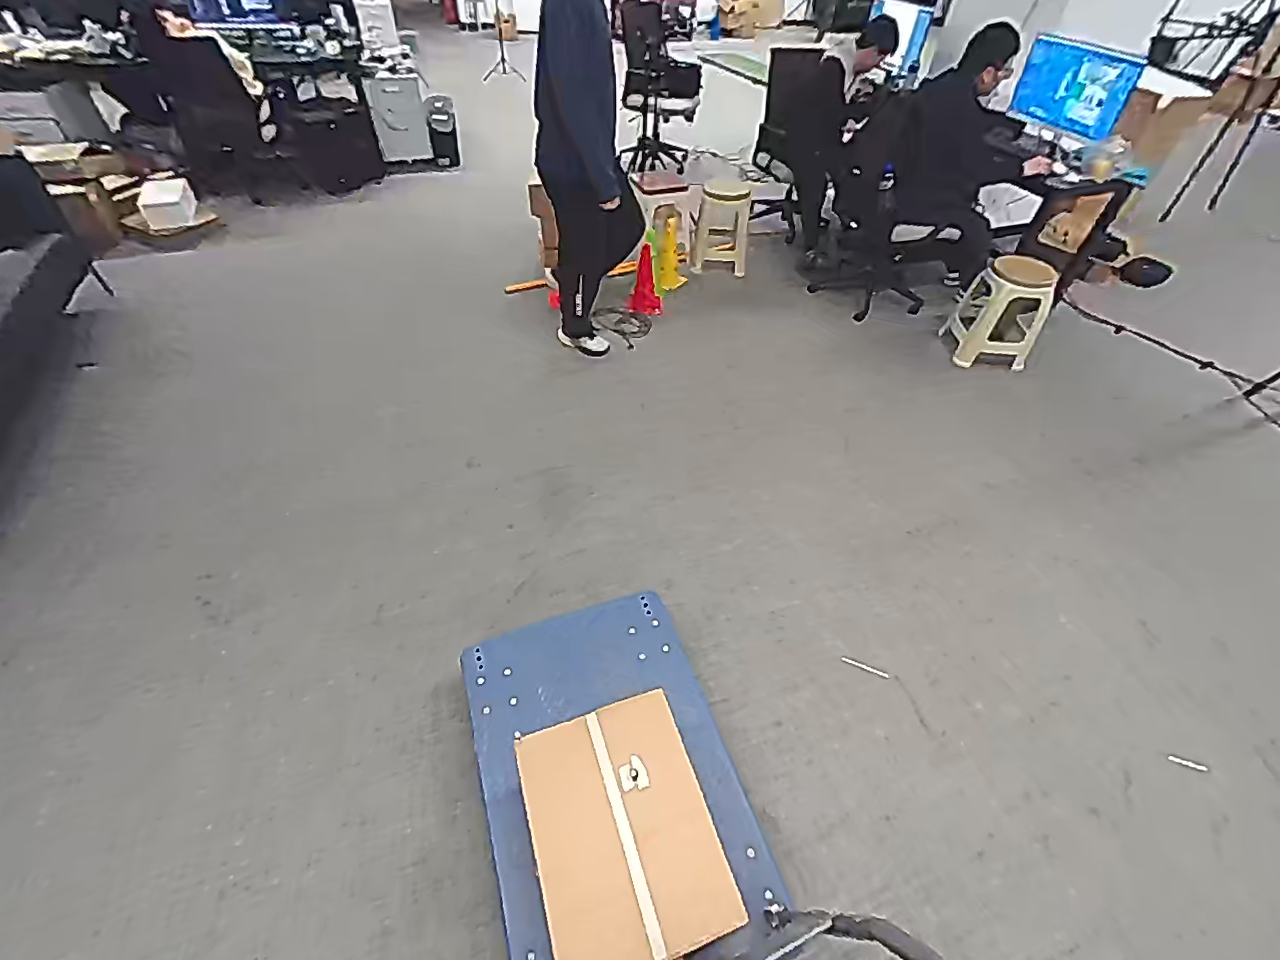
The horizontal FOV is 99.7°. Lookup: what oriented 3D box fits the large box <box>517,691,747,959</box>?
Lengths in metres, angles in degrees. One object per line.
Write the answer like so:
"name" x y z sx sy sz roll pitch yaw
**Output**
"large box" -0.033 0.716 1.087 0.320 0.320 0.408 -14 50 -15
